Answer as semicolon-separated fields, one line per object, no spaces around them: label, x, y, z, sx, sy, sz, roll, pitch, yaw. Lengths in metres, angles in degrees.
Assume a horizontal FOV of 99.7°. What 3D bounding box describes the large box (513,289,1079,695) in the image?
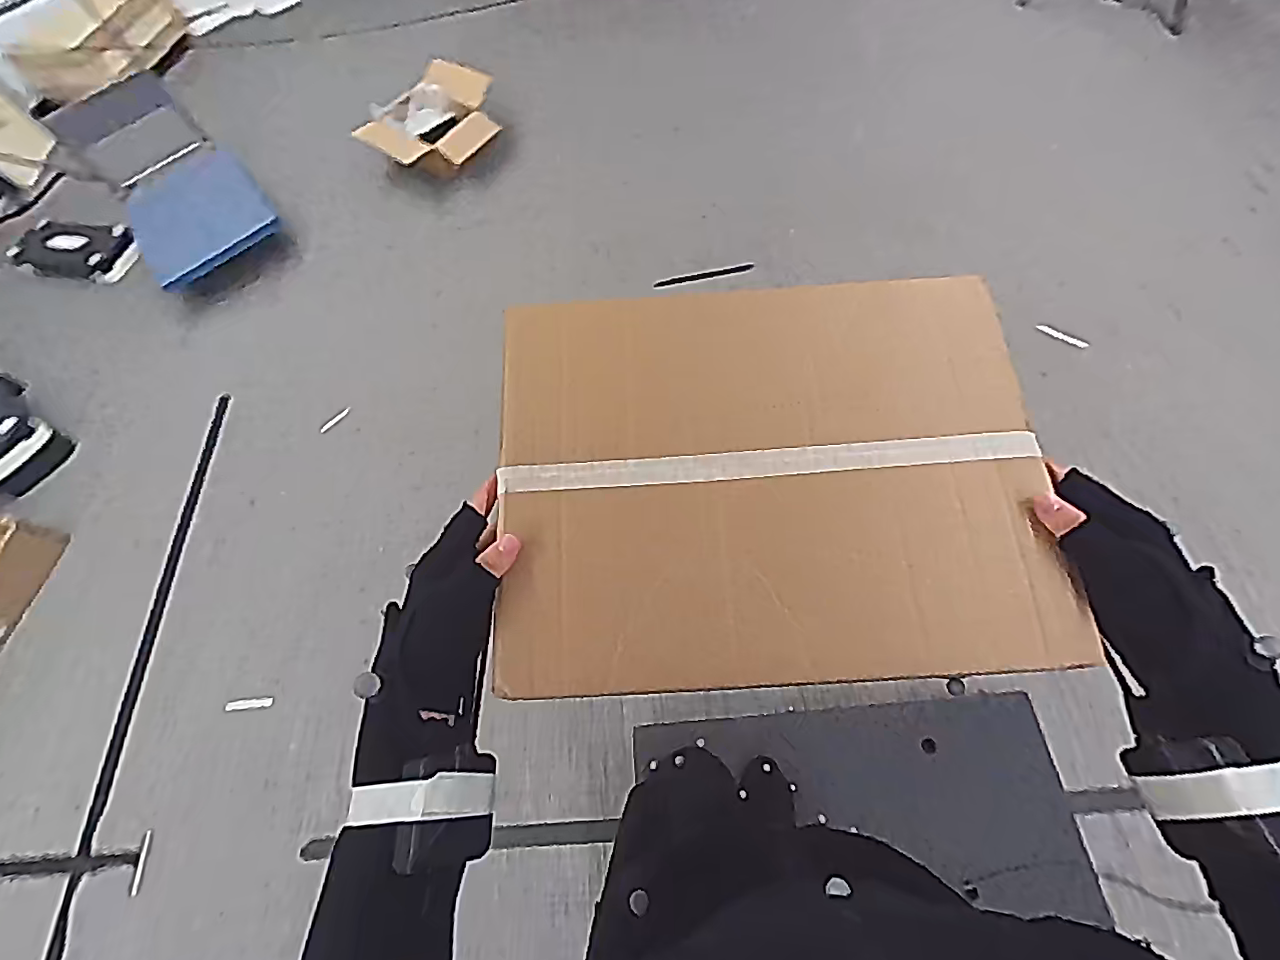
large box;0.108;0.039;0.564;0.408;0.320;0.320;-3;71;2

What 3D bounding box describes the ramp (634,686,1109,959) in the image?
ramp;0.500;0.773;1.241;0.991;0.206;0.509;-10;62;4
